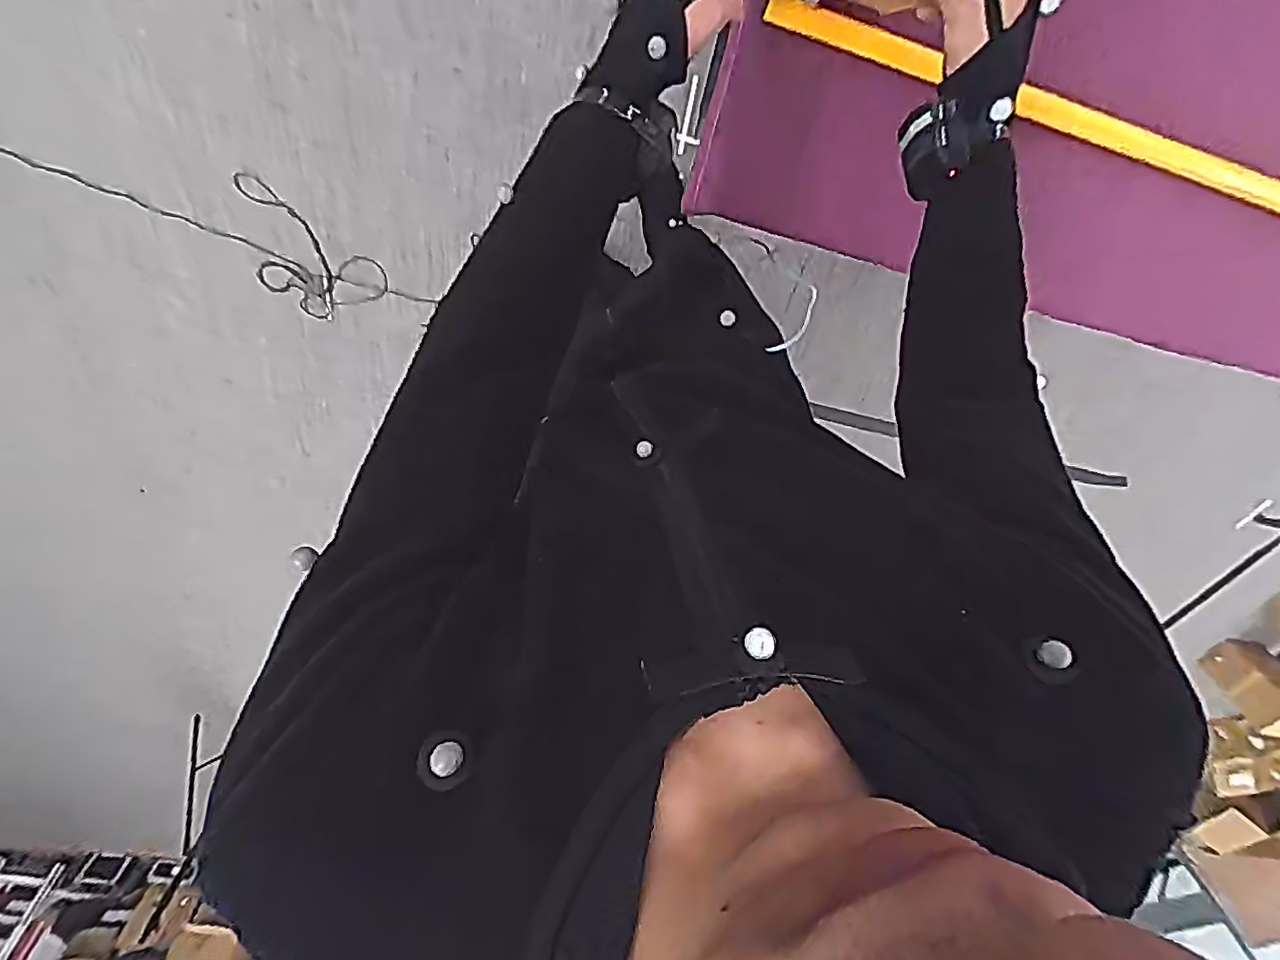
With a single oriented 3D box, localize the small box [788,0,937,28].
[{"bbox_3d":[0.187,-0.522,0.466,0.179,0.176,0.168,14,127,-8],"label":"small box"}]
